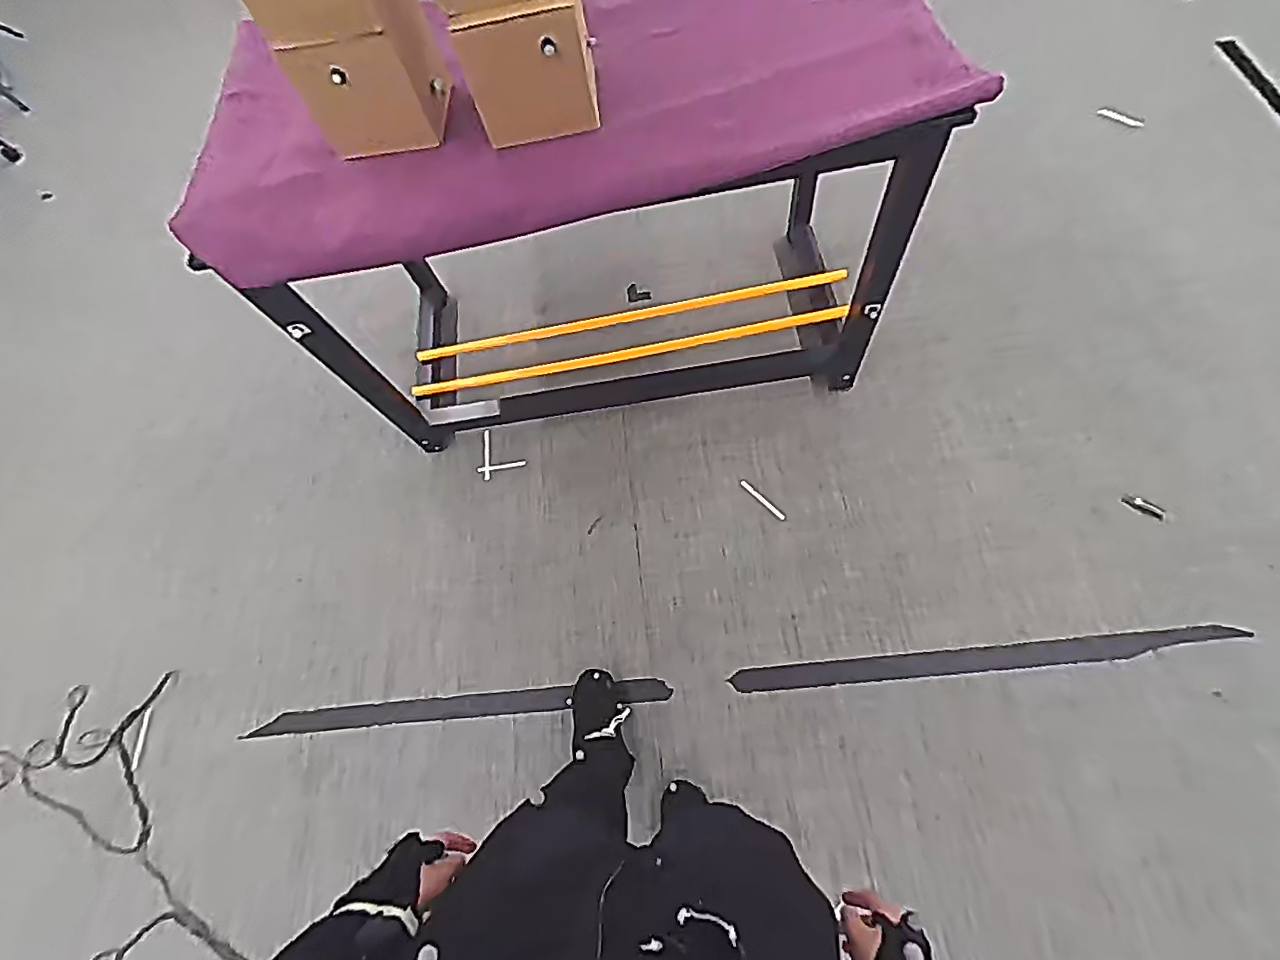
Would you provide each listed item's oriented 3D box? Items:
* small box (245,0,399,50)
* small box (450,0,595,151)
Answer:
[{"bbox_3d":[-0.435,-0.711,0.711,0.179,0.176,0.168,-1,67,8],"label":"small box"},{"bbox_3d":[-0.167,-0.641,0.823,0.179,0.176,0.168,-8,65,5],"label":"small box"}]
